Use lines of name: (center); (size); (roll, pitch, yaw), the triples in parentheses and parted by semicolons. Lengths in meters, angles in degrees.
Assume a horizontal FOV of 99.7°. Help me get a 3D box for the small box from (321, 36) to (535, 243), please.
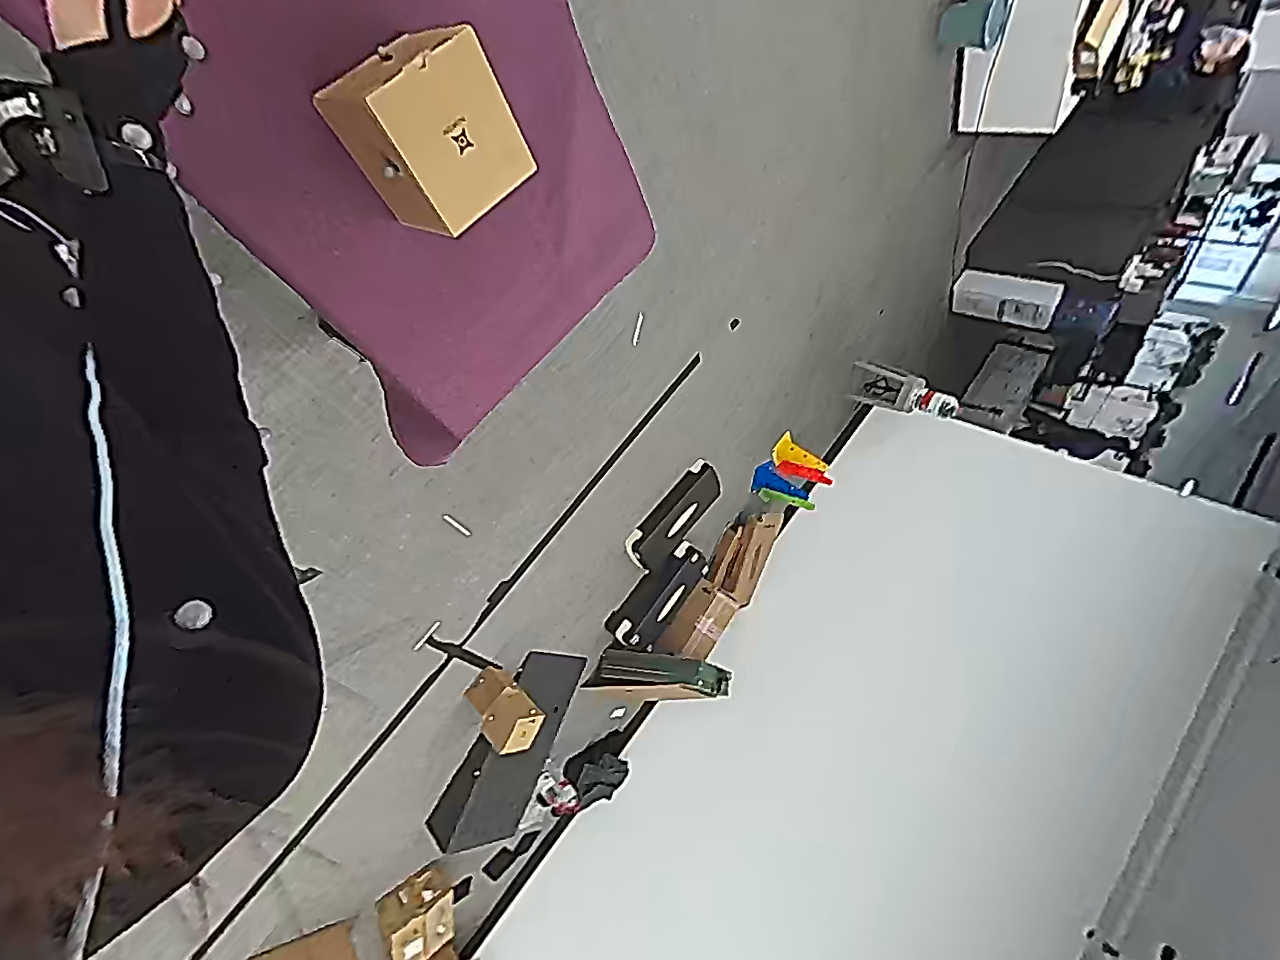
small box: (-0.283, -0.456, 0.732); (0.168, 0.176, 0.179); (-48, 141, -15)
